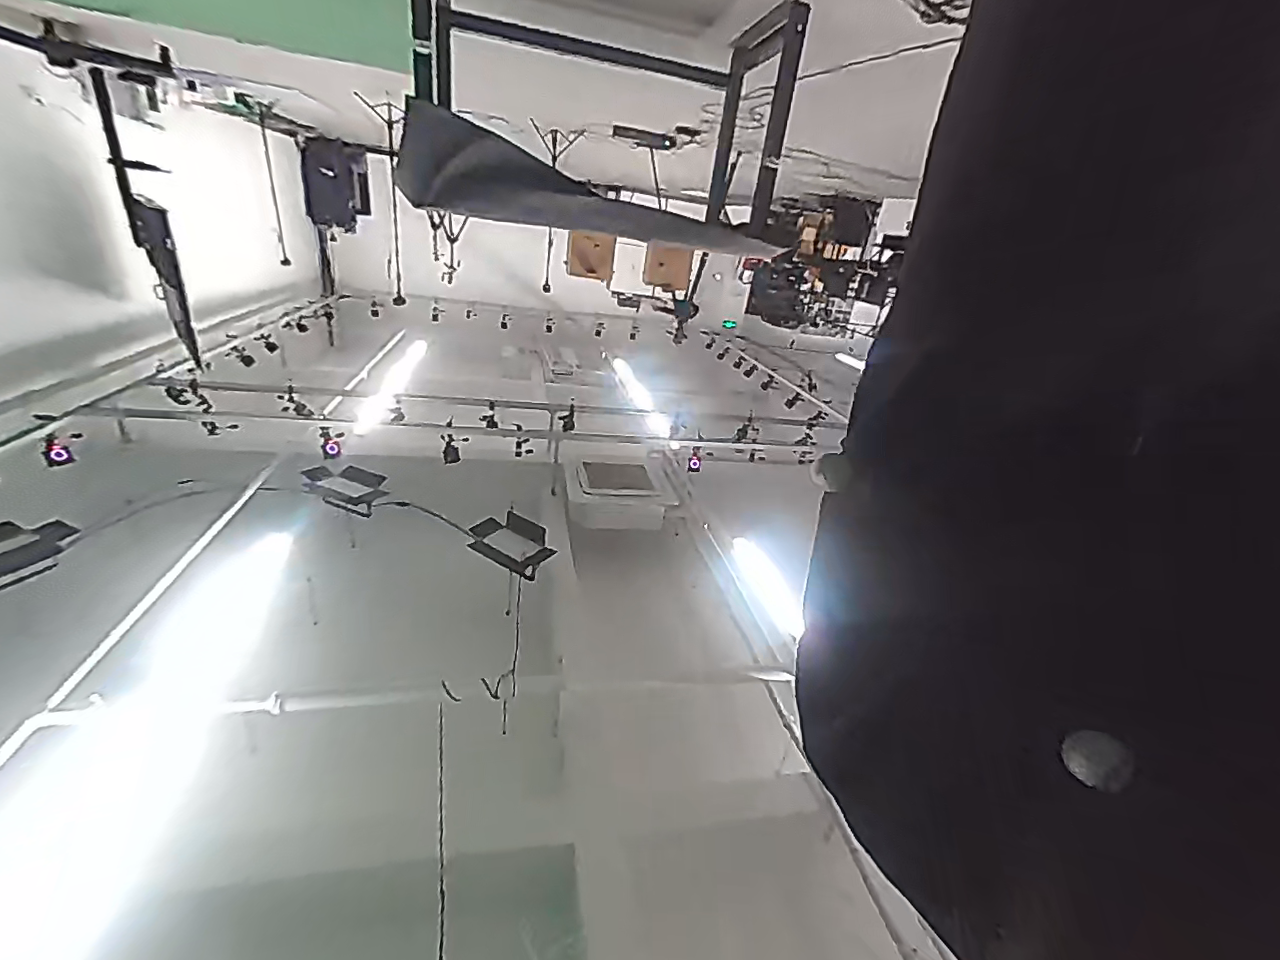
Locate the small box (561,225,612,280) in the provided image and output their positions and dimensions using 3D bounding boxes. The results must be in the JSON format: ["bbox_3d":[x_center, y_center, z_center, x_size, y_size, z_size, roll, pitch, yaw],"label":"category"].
[{"bbox_3d":[-0.207,-0.875,2.070,0.168,0.176,0.179,2,-155,-14],"label":"small box"}]

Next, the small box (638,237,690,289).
[{"bbox_3d":[0.093,-0.861,2.137,0.168,0.176,0.179,6,-154,-9],"label":"small box"}]
